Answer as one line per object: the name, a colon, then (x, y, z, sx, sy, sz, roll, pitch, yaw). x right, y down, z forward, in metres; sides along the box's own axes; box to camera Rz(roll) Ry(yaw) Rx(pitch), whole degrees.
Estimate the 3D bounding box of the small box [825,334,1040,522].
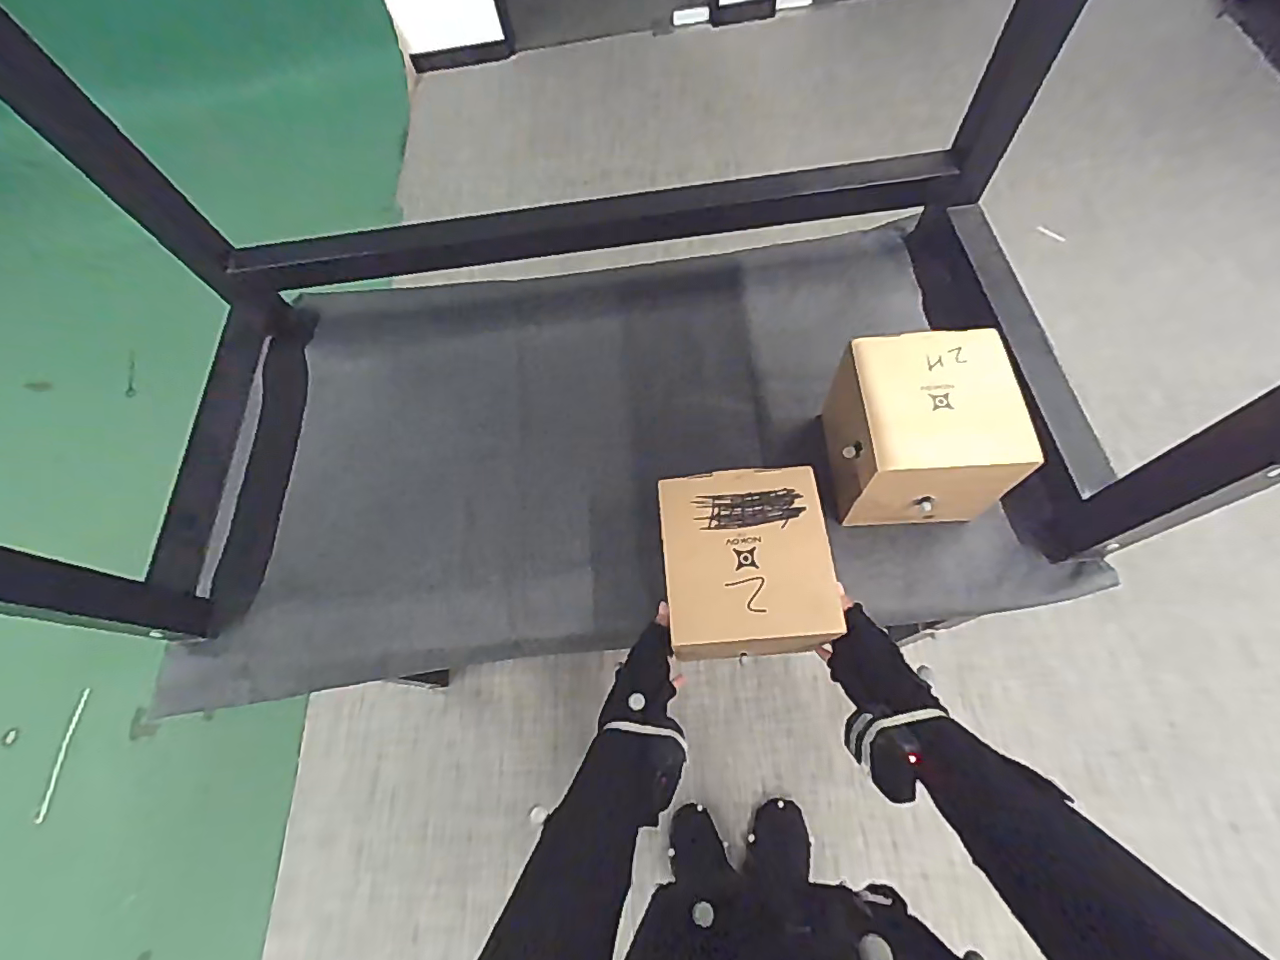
small box: (0.336, -0.052, 0.664, 0.168, 0.176, 0.179, -3, 65, 5)
